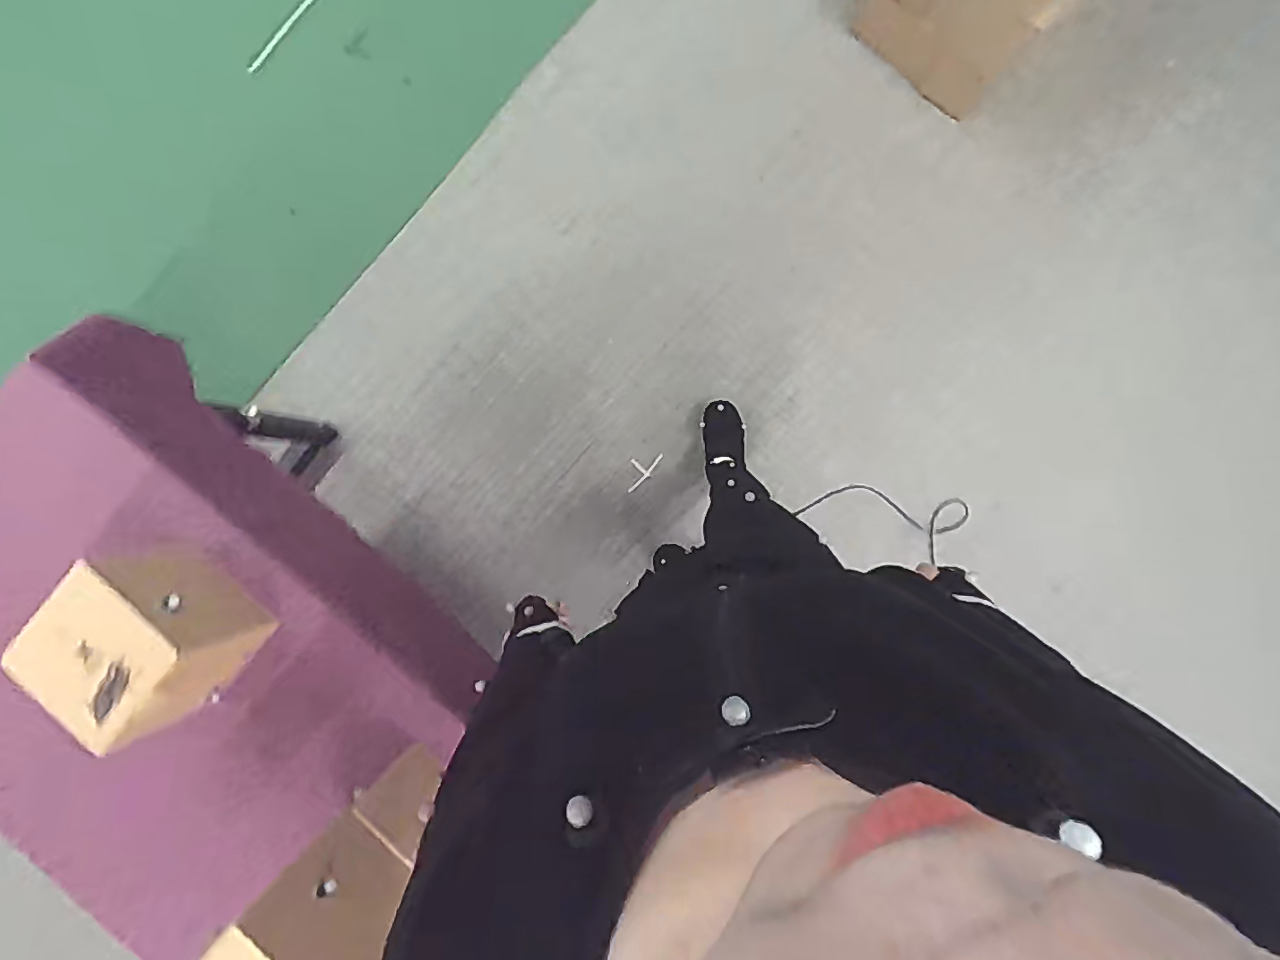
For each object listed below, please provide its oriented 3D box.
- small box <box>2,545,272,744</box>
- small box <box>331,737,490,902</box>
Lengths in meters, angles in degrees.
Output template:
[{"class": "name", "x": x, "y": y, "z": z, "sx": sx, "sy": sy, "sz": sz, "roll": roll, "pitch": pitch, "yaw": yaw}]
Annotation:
[{"class": "small box", "x": -0.660, "y": 0.206, "z": 0.734, "sx": 0.179, "sy": 0.176, "sz": 0.168, "roll": 40, "pitch": 92, "yaw": 3}, {"class": "small box", "x": -0.330, "y": 0.490, "z": 0.717, "sx": 0.168, "sy": 0.176, "sz": 0.179, "roll": 41, "pitch": 93, "yaw": 2}]
